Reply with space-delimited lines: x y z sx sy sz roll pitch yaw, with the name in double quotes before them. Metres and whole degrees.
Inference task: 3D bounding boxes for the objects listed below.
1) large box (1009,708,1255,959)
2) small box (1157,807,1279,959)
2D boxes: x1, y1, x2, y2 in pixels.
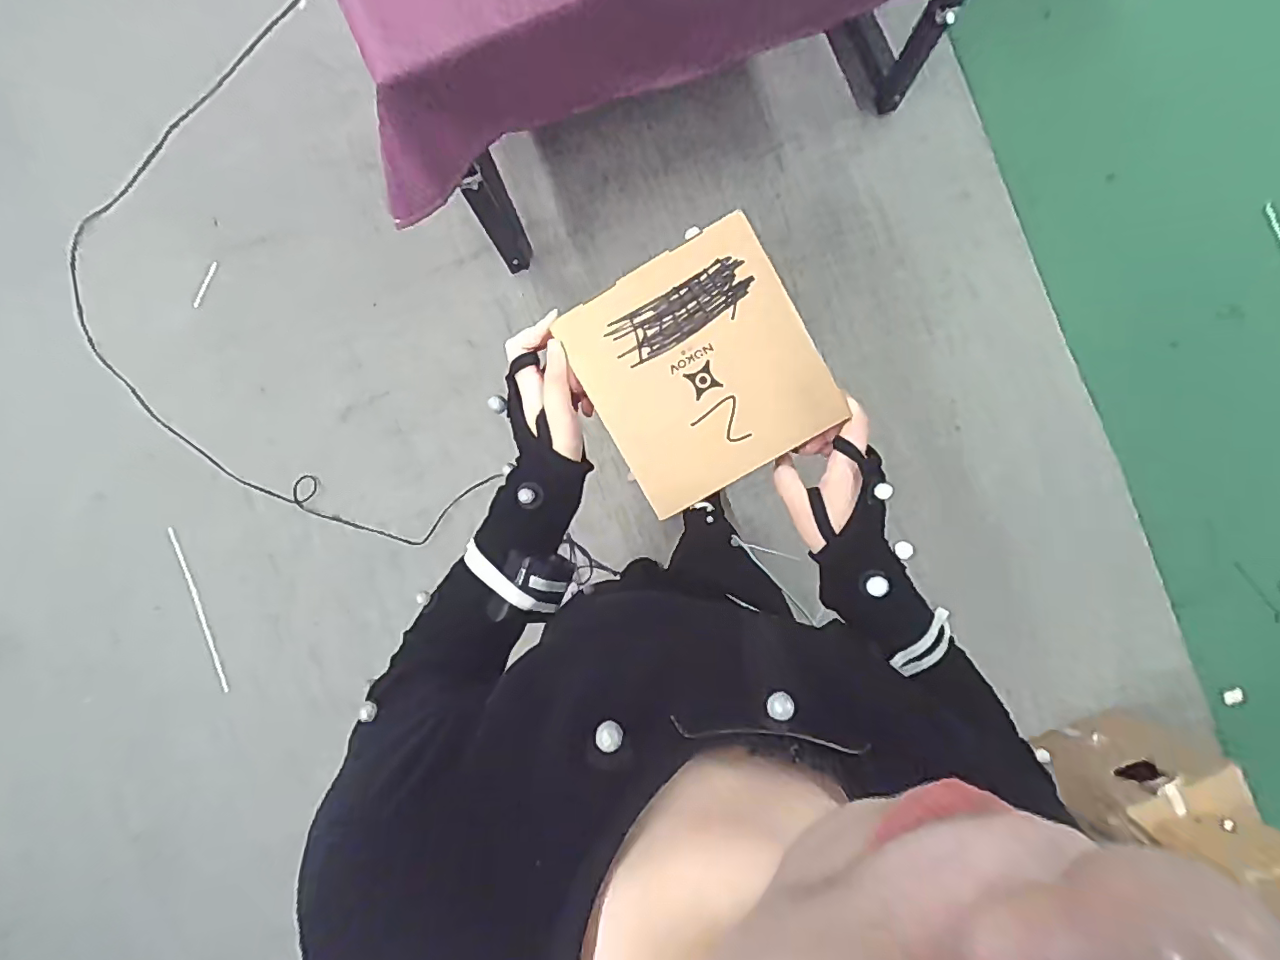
"large box" 1.205 0.848 1.312 0.320 0.320 0.408 -21 90 0
"small box" 1.192 0.792 1.071 0.168 0.176 0.179 -10 88 -1
